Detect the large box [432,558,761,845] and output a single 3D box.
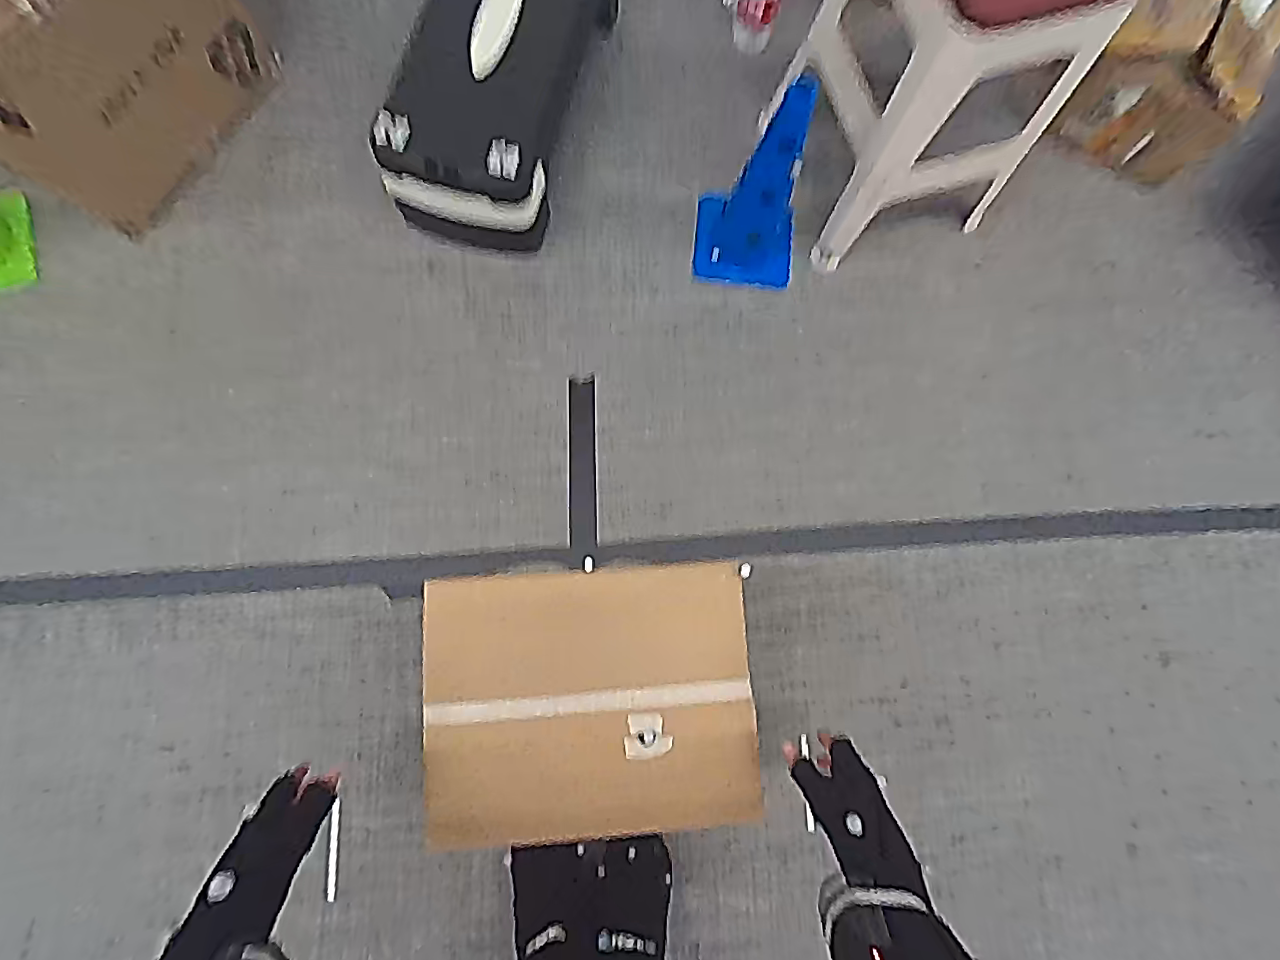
[{"bbox_3d":[-0.068,0.294,0.822,0.408,0.320,0.320,-3,81,-4],"label":"large box"}]
